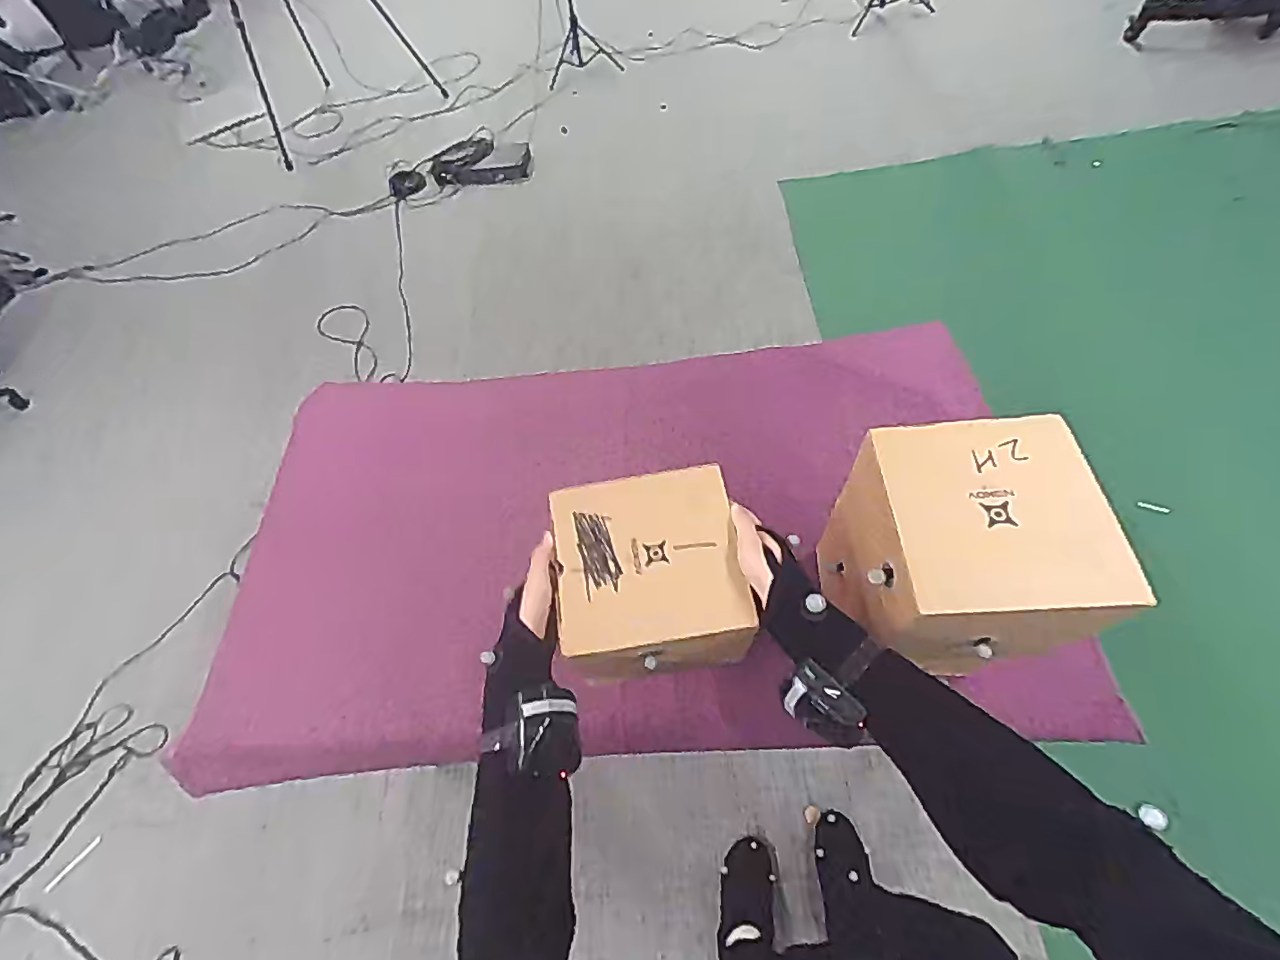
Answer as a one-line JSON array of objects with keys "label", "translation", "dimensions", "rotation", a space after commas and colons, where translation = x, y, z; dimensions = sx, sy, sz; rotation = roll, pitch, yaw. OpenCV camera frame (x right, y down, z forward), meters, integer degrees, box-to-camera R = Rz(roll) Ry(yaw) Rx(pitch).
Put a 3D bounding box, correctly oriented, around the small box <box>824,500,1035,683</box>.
[{"label": "small box", "translation": [0.325, 0.140, 0.652], "dimensions": [0.168, 0.176, 0.179], "rotation": [-1, 59, 8]}]
